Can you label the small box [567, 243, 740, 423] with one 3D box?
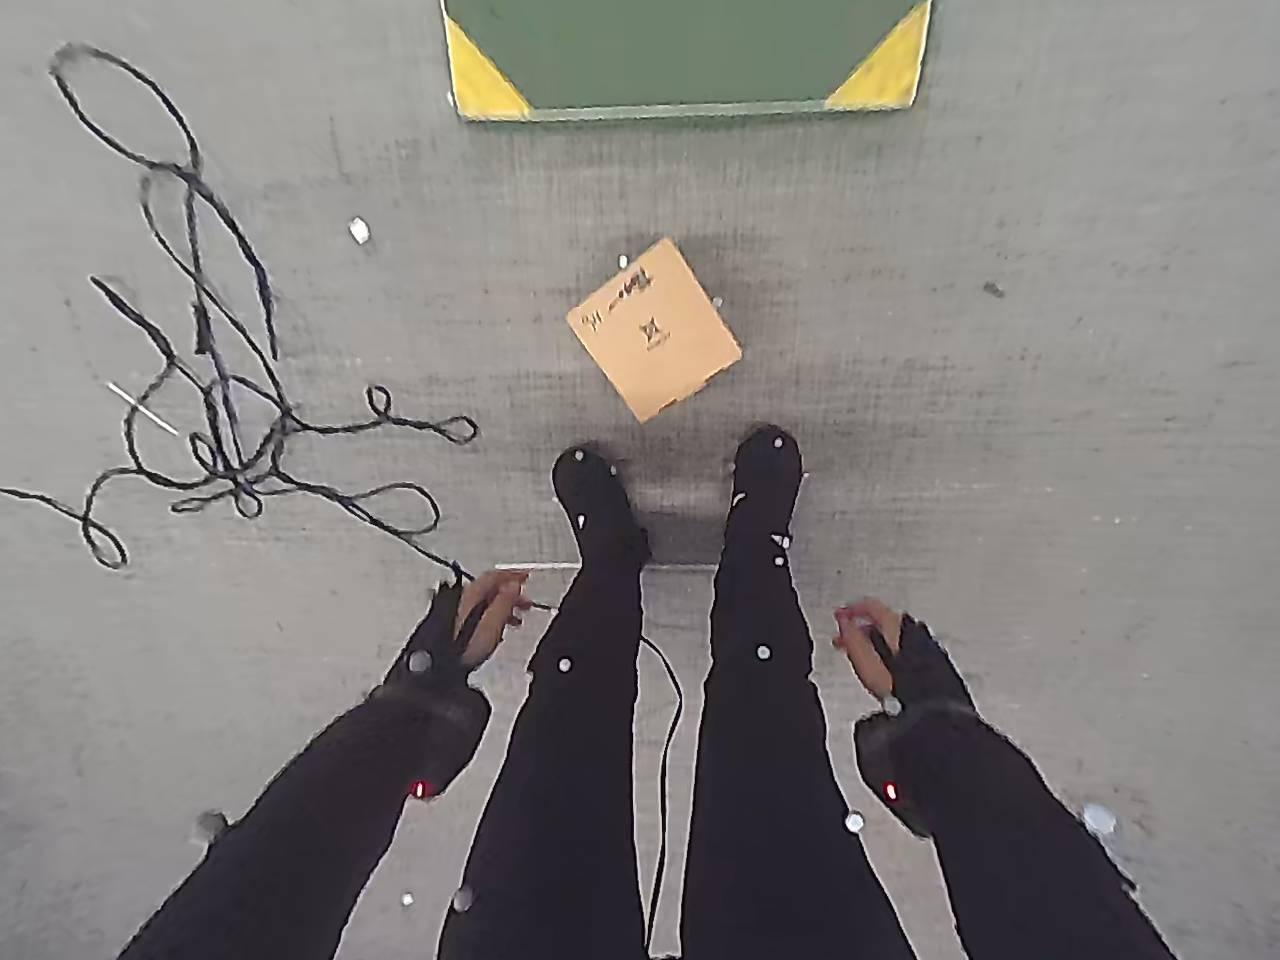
[{"bbox_3d":[0.026,-0.214,0.776,0.168,0.176,0.179,-32,105,16],"label":"small box"}]
